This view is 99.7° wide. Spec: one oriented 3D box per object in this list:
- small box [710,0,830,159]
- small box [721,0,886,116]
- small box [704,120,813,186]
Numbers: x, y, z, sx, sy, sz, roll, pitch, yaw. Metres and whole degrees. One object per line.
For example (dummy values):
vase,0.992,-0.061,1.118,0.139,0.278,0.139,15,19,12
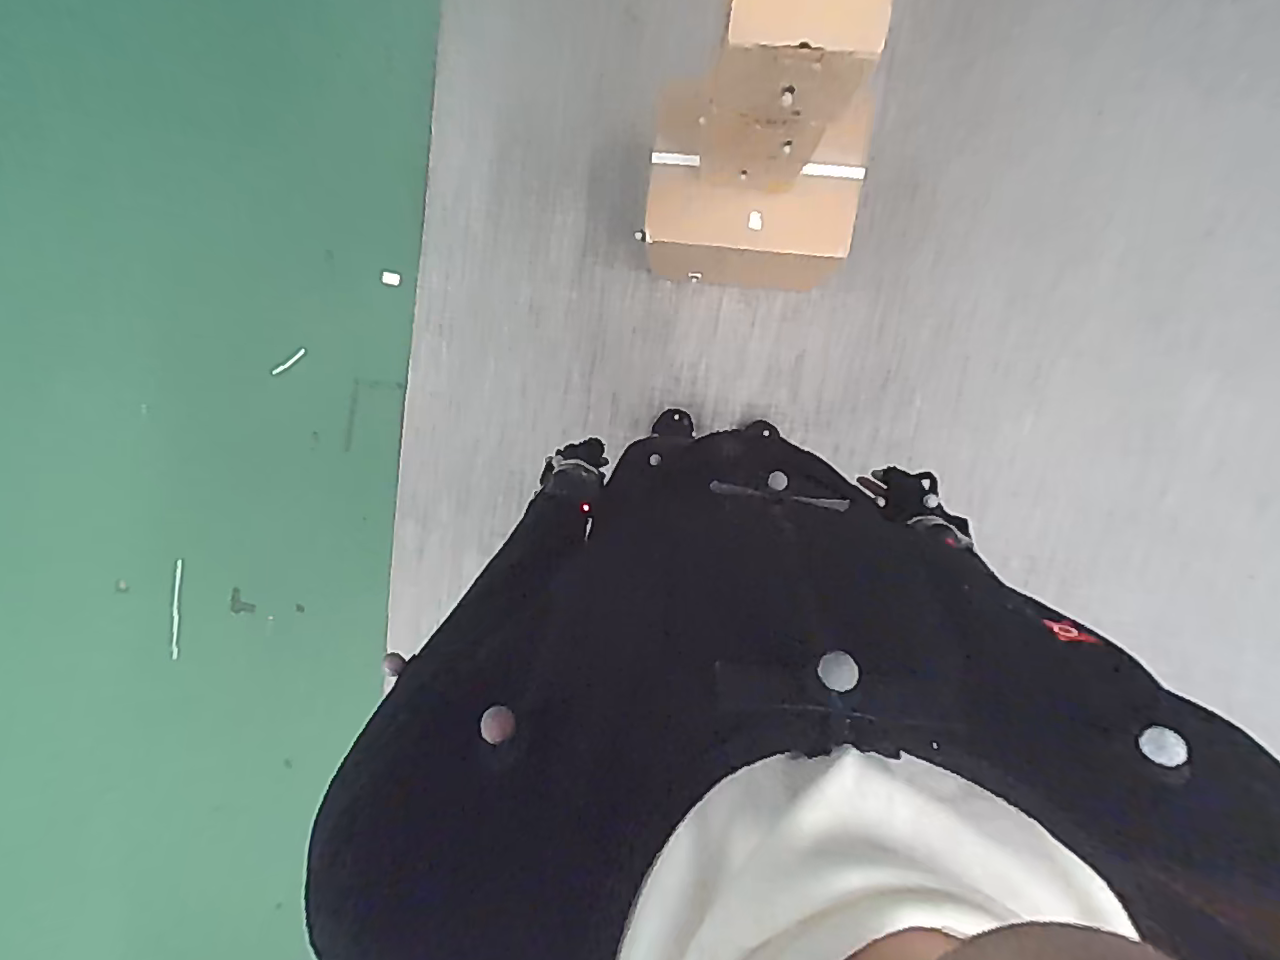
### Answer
small box,0.196,-0.597,0.795,0.168,0.176,0.179,8,103,4
small box,0.190,-0.560,0.635,0.168,0.176,0.179,9,105,4
small box,0.211,-0.633,0.951,0.179,0.176,0.168,7,104,4
